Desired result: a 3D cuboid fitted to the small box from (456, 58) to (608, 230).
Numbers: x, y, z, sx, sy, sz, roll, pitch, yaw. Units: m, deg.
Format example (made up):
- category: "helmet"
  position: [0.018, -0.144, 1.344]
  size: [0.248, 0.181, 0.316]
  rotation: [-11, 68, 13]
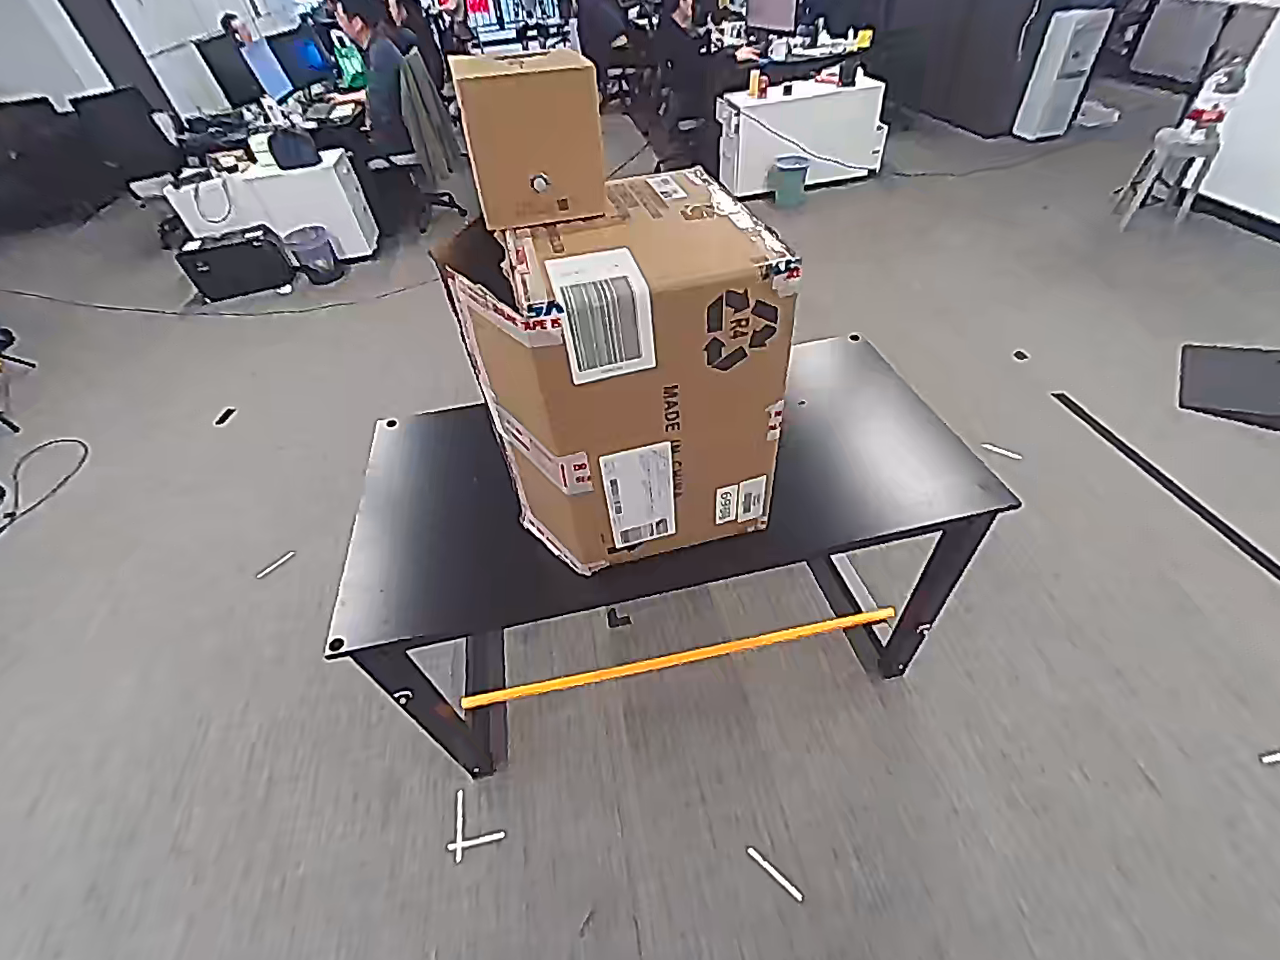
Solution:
- category: "small box"
  position: [-0.146, -0.458, 0.737]
  size: [0.168, 0.176, 0.179]
  rotation: [-13, 44, -10]
